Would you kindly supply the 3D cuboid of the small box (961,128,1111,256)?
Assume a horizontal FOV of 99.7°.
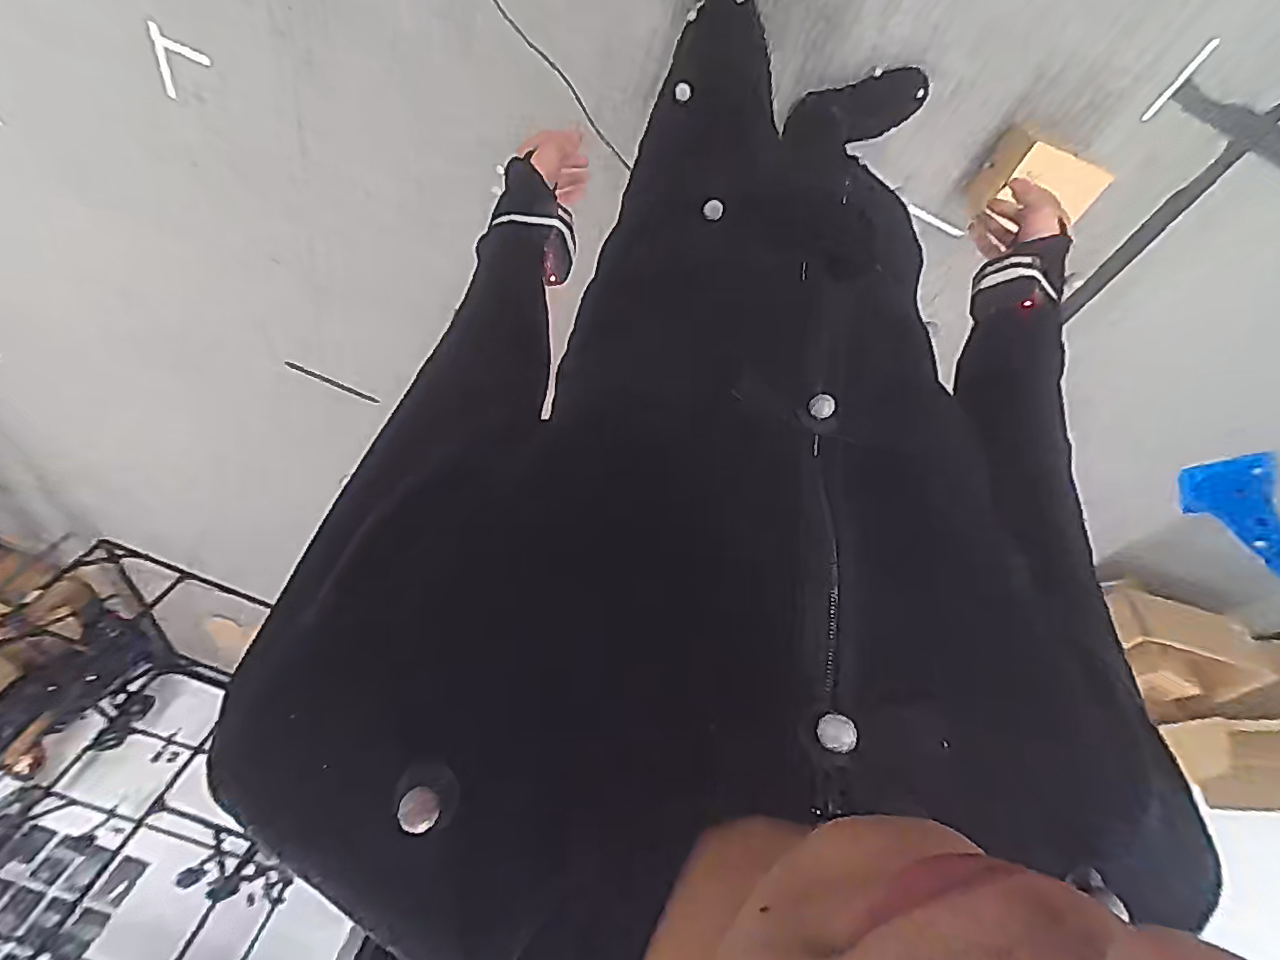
[{"bbox_3d":[0.822,-0.612,1.143,0.179,0.176,0.168,22,136,-2],"label":"small box"}]
